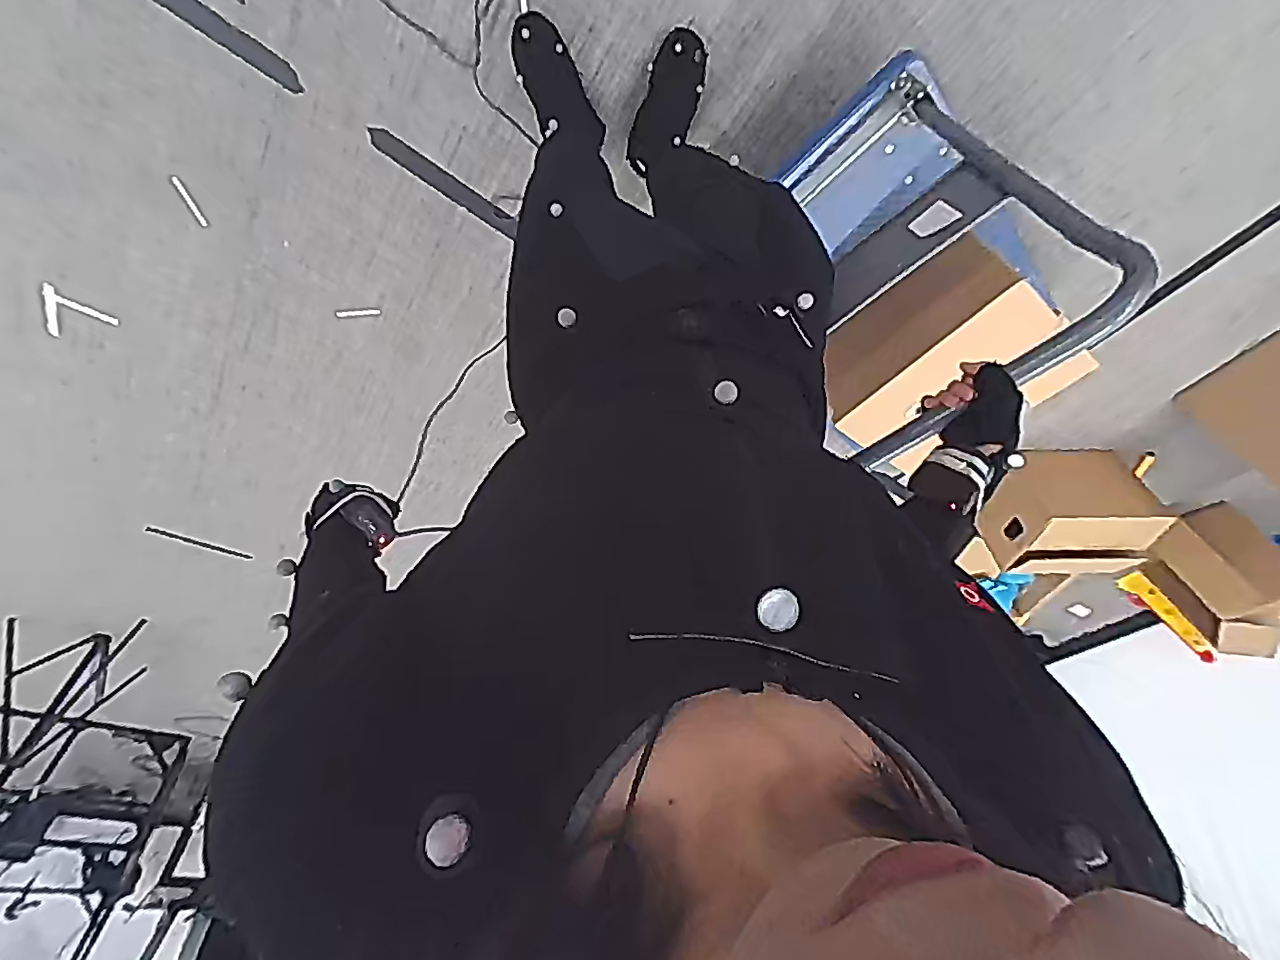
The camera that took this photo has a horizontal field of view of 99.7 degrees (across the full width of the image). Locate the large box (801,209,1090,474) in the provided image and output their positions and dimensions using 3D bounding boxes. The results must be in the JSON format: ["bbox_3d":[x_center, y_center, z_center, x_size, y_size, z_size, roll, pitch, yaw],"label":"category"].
[{"bbox_3d":[0.637,-0.290,1.195,0.320,0.320,0.408,26,130,-27],"label":"large box"}]
